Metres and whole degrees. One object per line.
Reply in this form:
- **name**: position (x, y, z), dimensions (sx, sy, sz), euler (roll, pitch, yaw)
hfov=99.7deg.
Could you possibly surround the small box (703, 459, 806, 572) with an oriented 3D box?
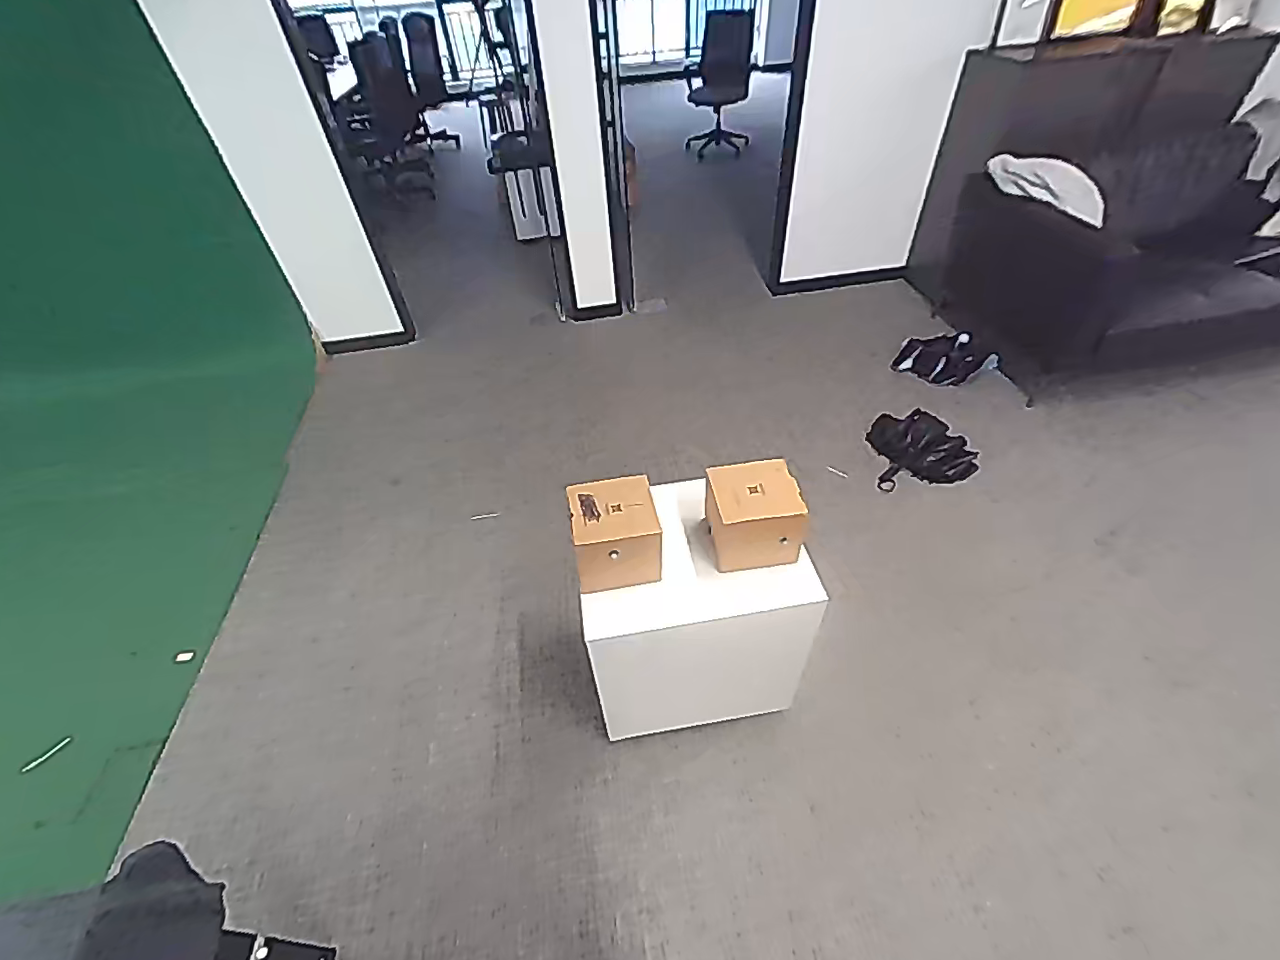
- **small box**: position (0.236, 0.078, 1.166), dimensions (0.179, 0.176, 0.168), euler (-8, 45, -2)

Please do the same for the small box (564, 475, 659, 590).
- **small box**: position (-0.059, 0.115, 1.147), dimensions (0.179, 0.176, 0.168), euler (-8, 45, -7)
